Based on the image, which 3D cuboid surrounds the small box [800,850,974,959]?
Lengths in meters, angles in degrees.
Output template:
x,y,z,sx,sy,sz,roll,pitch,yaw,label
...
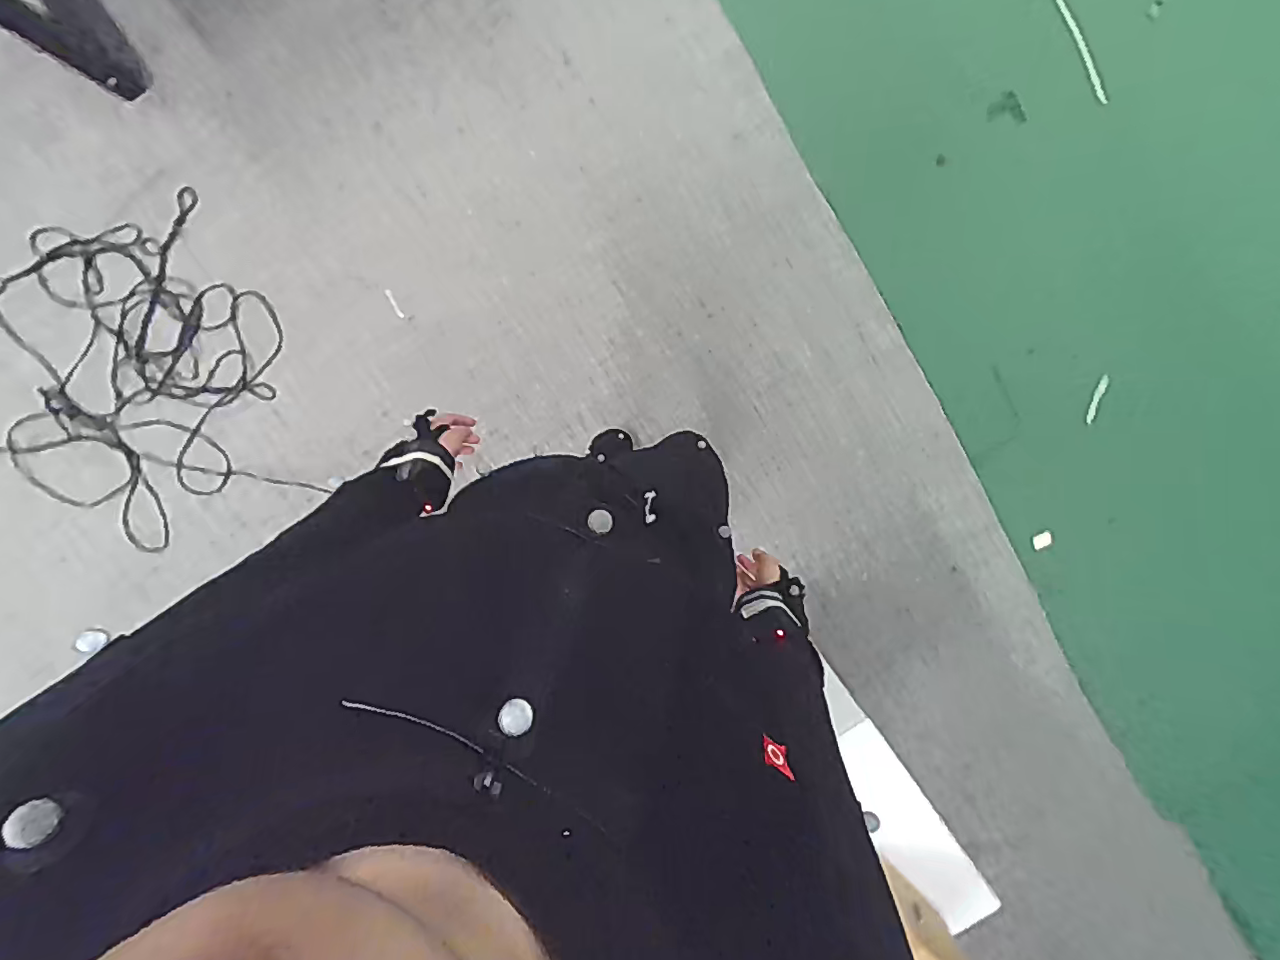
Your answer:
x,y,z,sx,sy,sz,roll,pitch,yaw,label
0.360,0.680,0.773,0.179,0.176,0.168,45,97,-7,small box
